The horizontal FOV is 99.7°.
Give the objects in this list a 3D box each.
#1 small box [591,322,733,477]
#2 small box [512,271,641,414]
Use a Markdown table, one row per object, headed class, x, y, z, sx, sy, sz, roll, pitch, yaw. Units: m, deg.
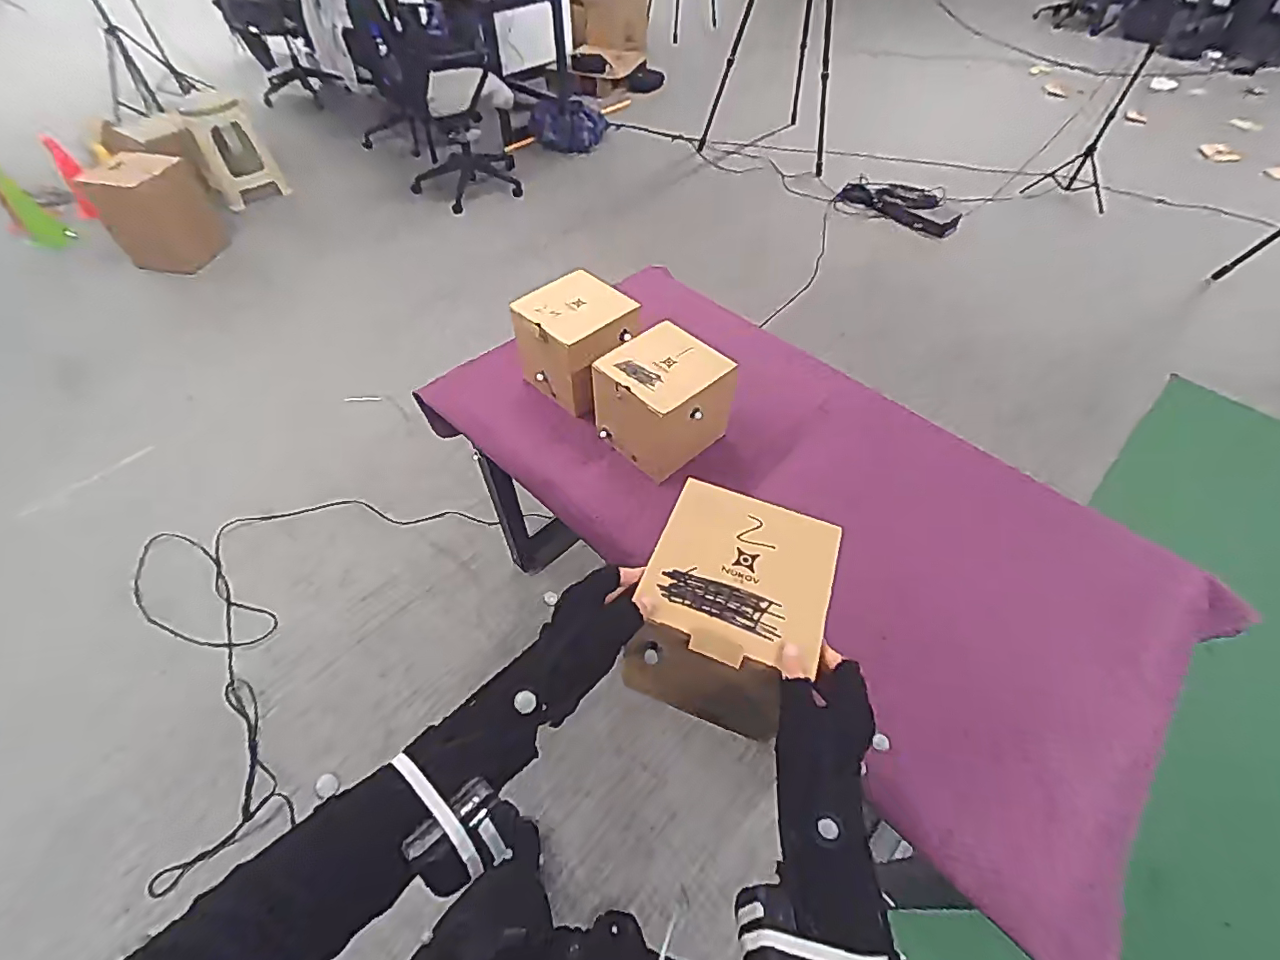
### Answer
| class | x | y | z | sx | sy | sz | roll | pitch | yaw |
| --- | --- | --- | --- | --- | --- | --- | --- | --- | --- |
| small box | 0.037 | -0.137 | 0.939 | 0.179 | 0.176 | 0.168 | -36 | 61 | -26 |
| small box | -0.118 | -0.262 | 1.034 | 0.179 | 0.176 | 0.168 | -38 | 61 | -26 |
